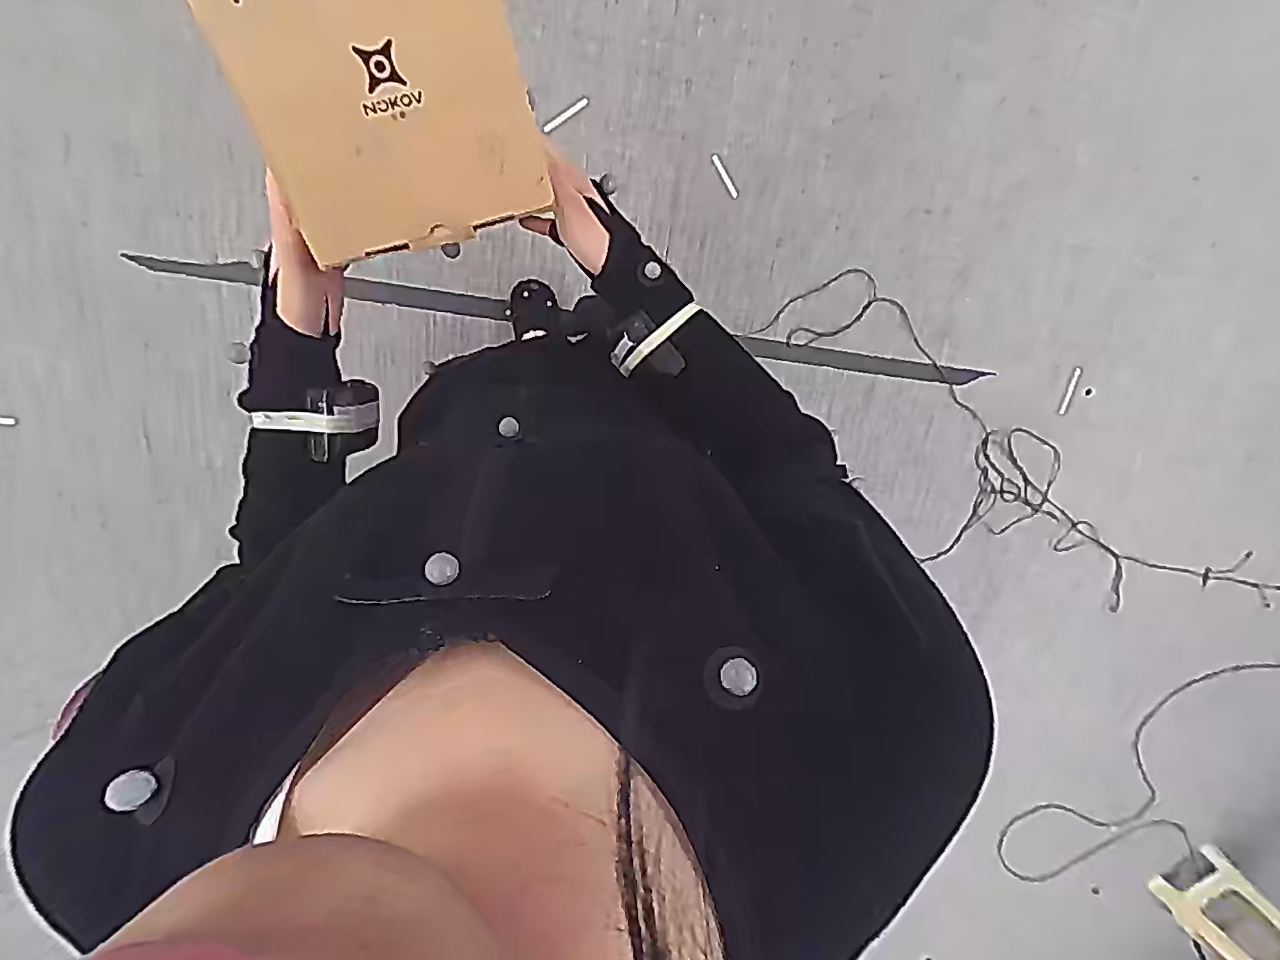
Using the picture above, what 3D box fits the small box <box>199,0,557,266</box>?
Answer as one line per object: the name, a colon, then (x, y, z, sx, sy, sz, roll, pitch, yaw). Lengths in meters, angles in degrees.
small box: (-0.171, -0.272, 0.394, 0.168, 0.176, 0.179, -19, 119, -9)
